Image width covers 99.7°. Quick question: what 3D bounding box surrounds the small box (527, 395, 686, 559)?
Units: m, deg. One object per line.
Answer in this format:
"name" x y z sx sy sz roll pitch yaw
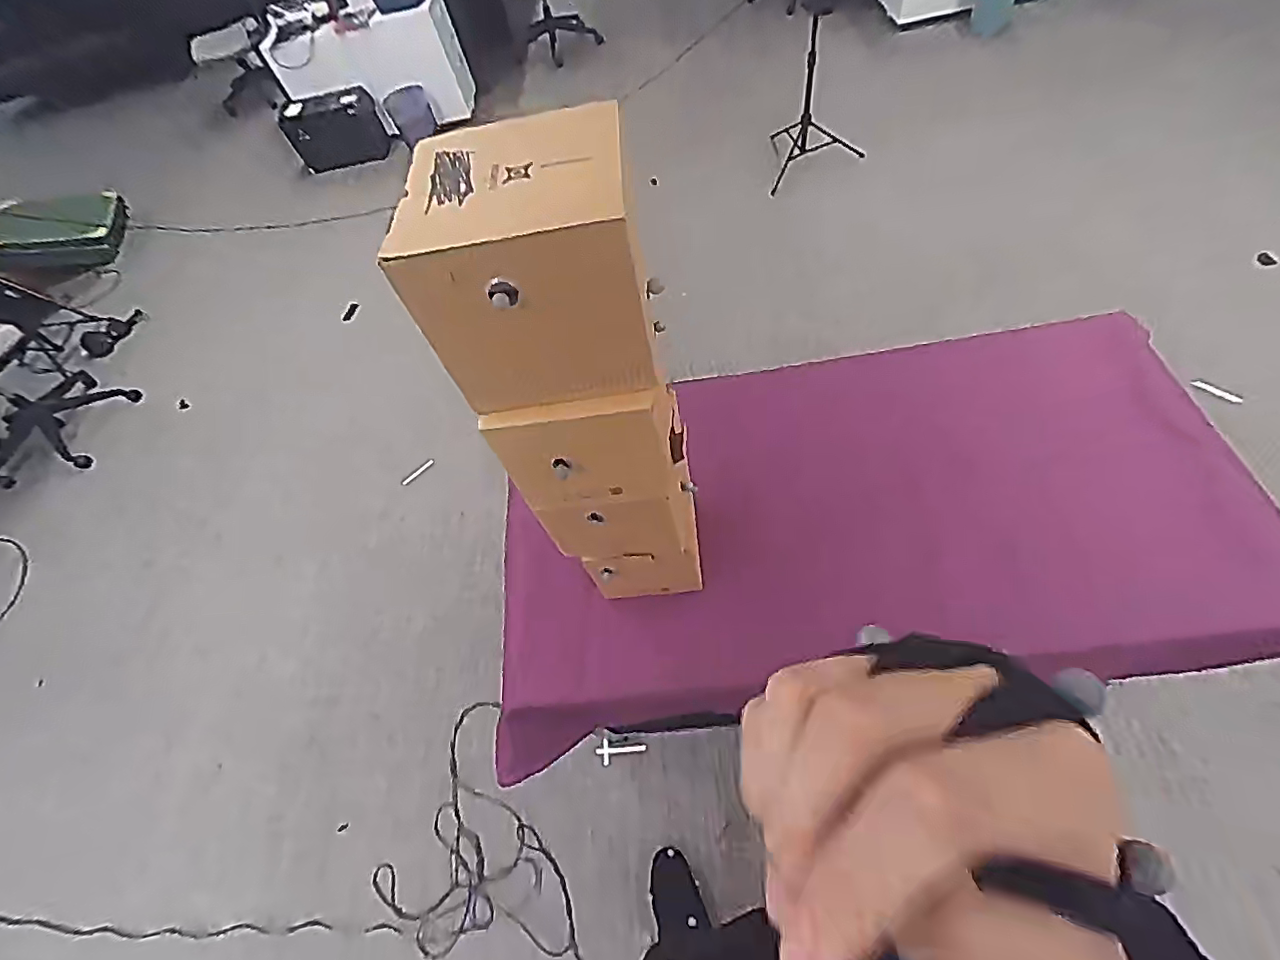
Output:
"small box" -0.033 0.002 0.745 0.179 0.176 0.168 -1 59 10

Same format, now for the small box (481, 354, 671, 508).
"small box" -0.058 -0.079 0.607 0.168 0.176 0.179 -7 57 7

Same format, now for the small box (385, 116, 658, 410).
"small box" -0.085 -0.179 0.478 0.179 0.176 0.168 -7 57 6
